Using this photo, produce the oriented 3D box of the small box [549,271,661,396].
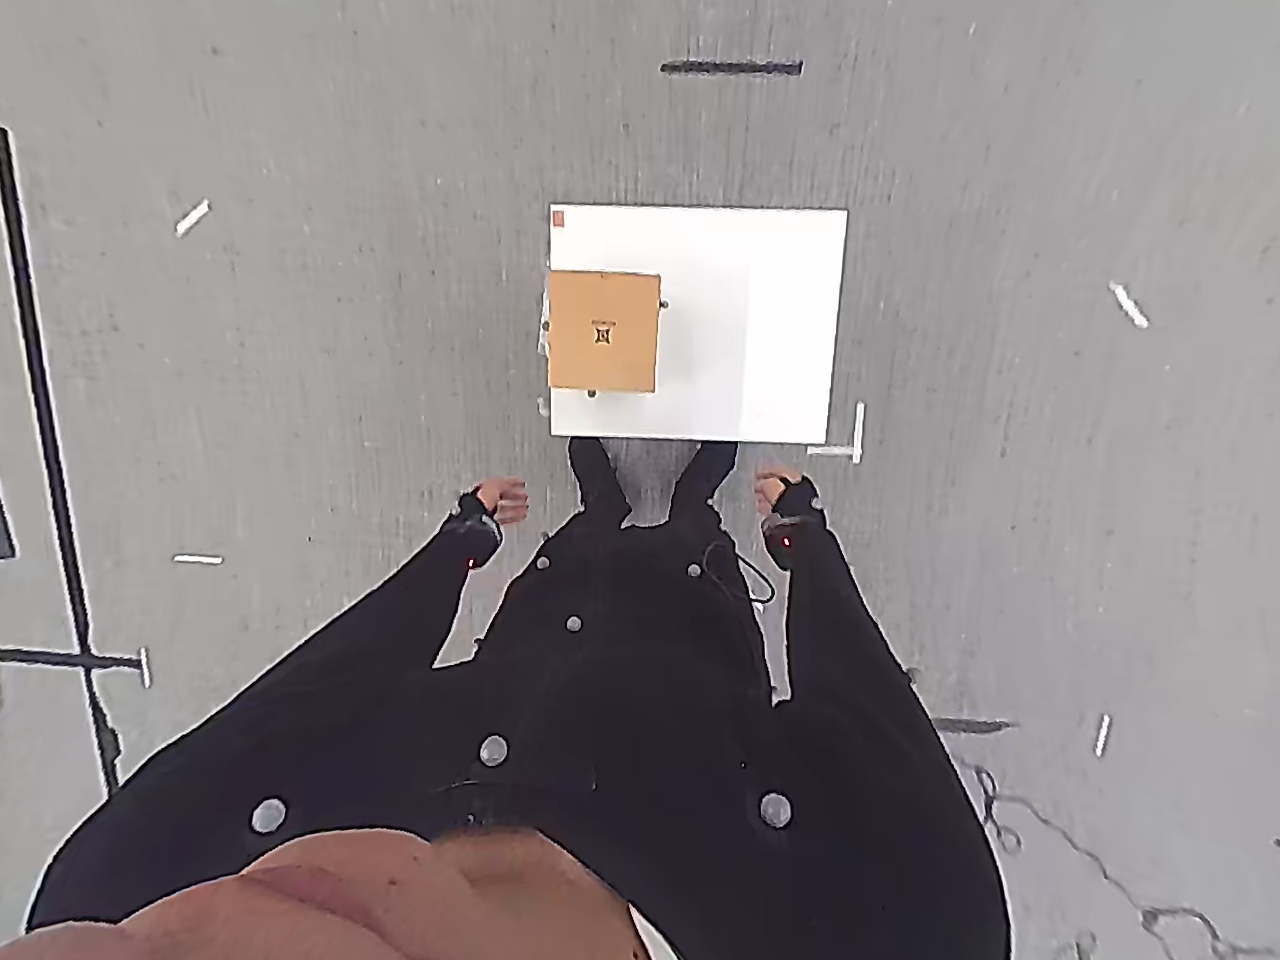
[{"bbox_3d":[-0.052,-0.234,0.889,0.168,0.176,0.179,3,101,1],"label":"small box"}]
